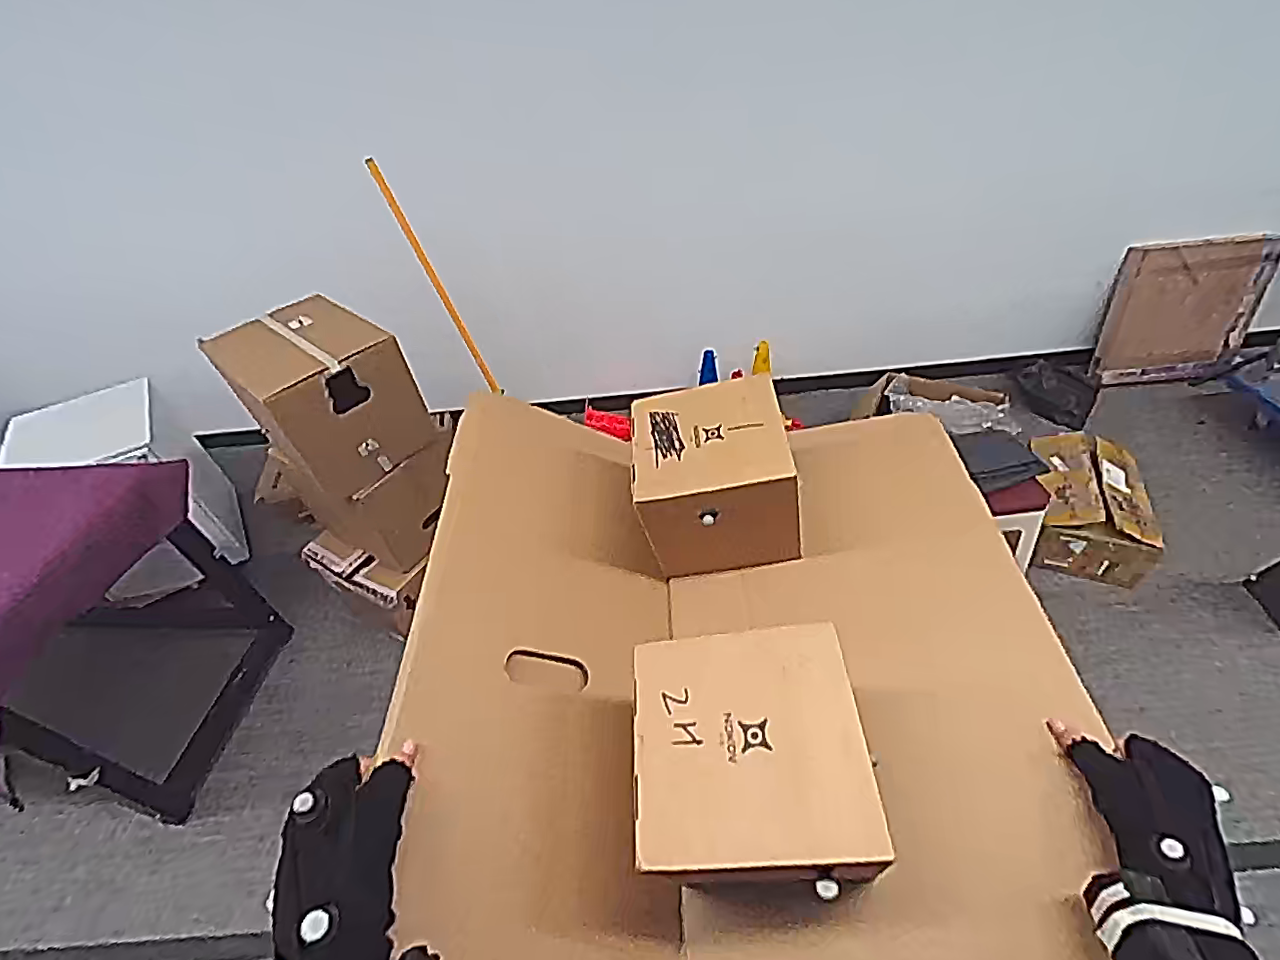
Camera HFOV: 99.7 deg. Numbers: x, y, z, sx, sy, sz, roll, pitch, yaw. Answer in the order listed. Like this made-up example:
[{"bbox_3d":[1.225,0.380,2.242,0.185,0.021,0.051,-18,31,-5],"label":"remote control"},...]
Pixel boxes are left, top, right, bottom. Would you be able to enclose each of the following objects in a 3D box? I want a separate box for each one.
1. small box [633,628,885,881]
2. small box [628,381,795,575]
[{"bbox_3d":[0.098,0.249,0.482,0.179,0.176,0.168,-10,49,12],"label":"small box"},{"bbox_3d":[0.091,0.005,0.685,0.179,0.176,0.168,-10,50,10],"label":"small box"}]
